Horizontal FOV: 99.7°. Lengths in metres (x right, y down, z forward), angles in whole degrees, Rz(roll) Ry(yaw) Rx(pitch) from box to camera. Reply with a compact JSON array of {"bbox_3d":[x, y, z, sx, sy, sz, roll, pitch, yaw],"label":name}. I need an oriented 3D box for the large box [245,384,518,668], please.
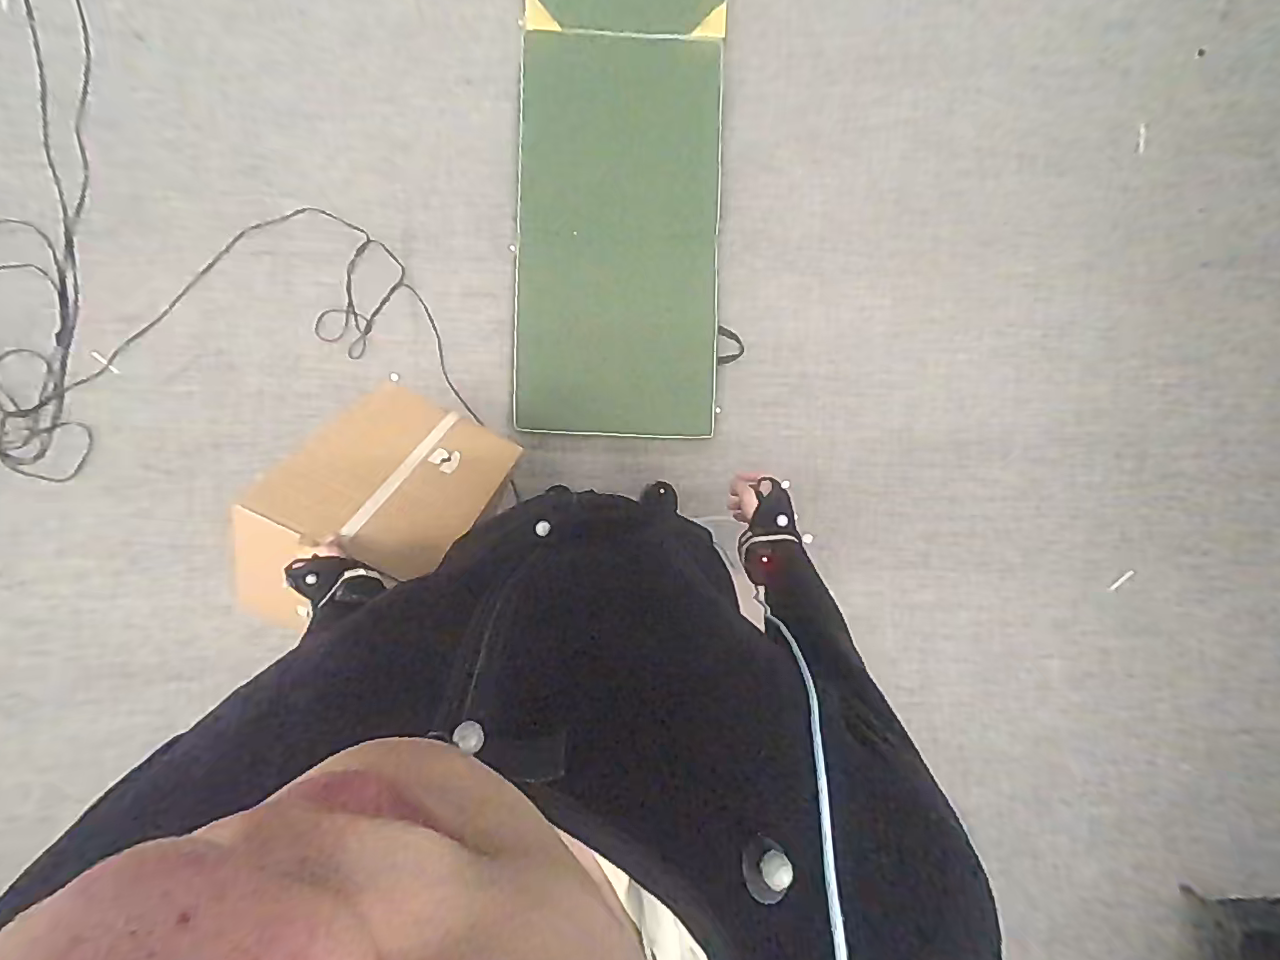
[{"bbox_3d":[-0.495,0.086,1.079,0.320,0.408,0.320,29,129,-8],"label":"large box"}]
